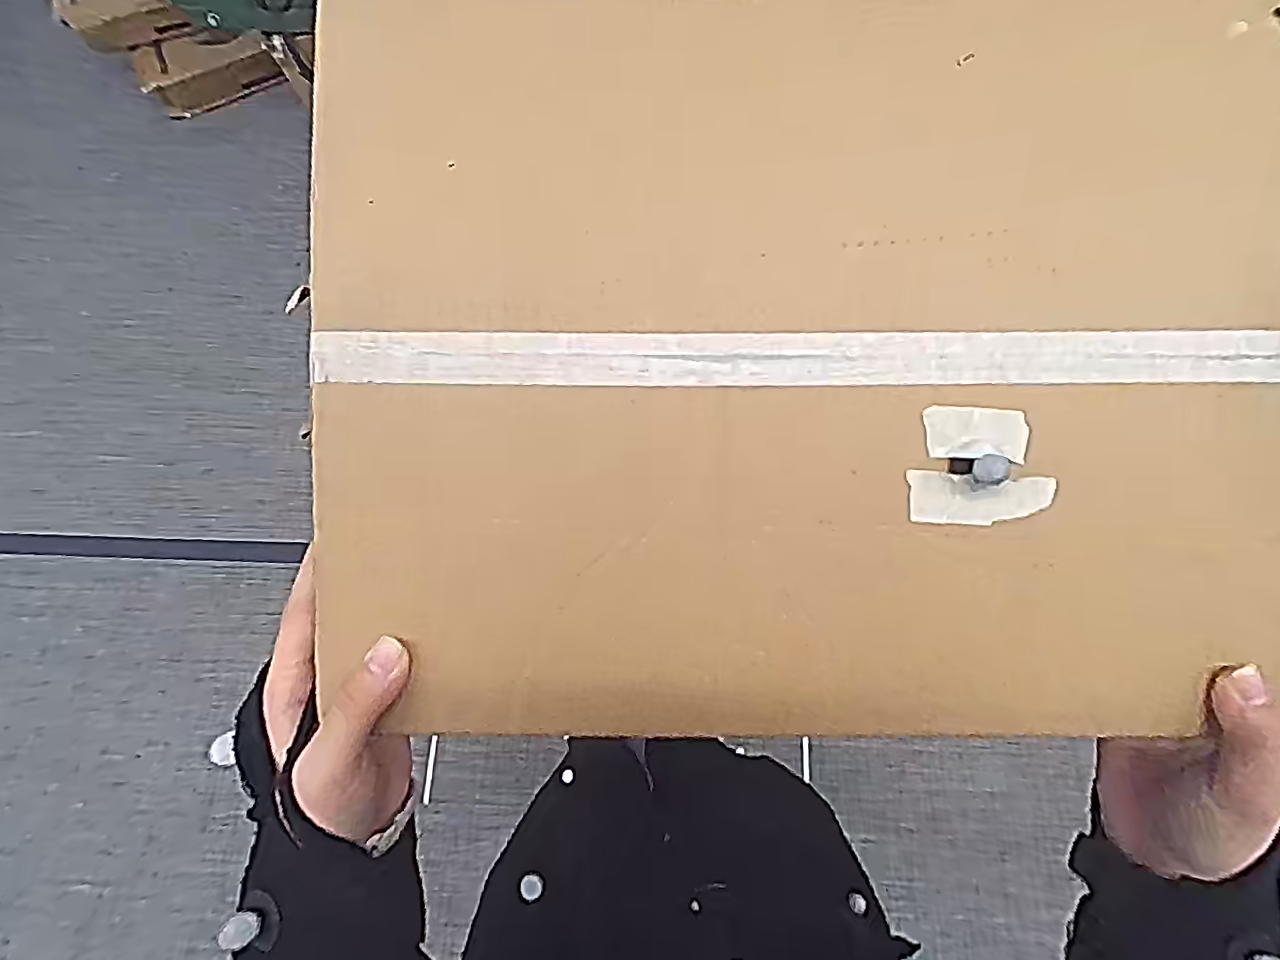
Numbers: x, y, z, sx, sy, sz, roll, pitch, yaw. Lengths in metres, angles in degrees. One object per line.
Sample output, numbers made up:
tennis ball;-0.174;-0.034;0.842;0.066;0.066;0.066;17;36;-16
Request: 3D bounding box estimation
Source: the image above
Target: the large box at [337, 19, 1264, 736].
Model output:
large box;0.066;-0.046;0.383;0.408;0.320;0.320;0;90;-1
